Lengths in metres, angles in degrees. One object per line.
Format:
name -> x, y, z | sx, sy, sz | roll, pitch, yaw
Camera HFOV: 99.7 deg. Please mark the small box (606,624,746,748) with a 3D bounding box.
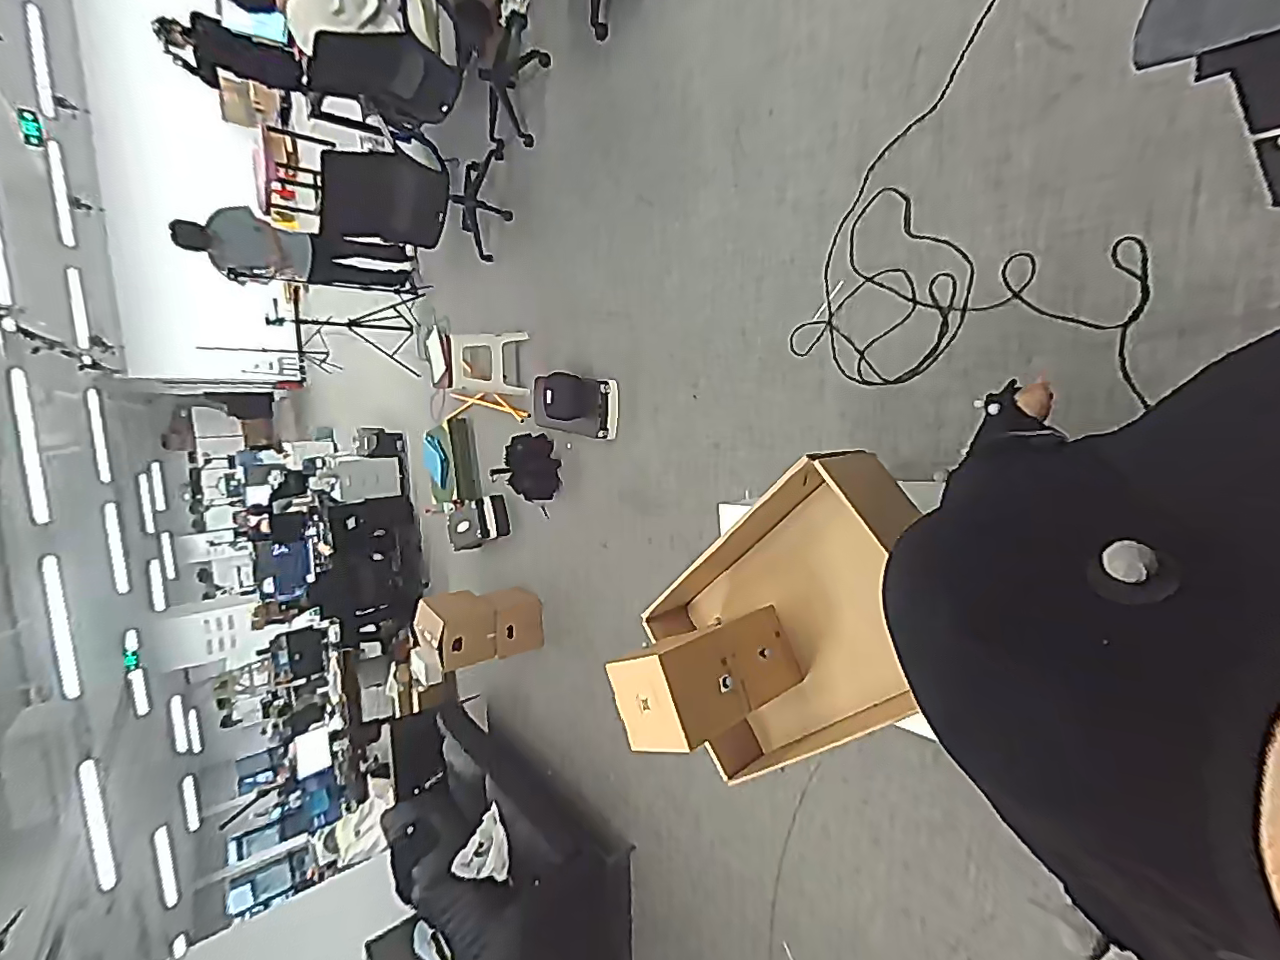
small box -> 0.067, 0.388, 1.025 | 0.179, 0.176, 0.168 | -32, 73, 47
